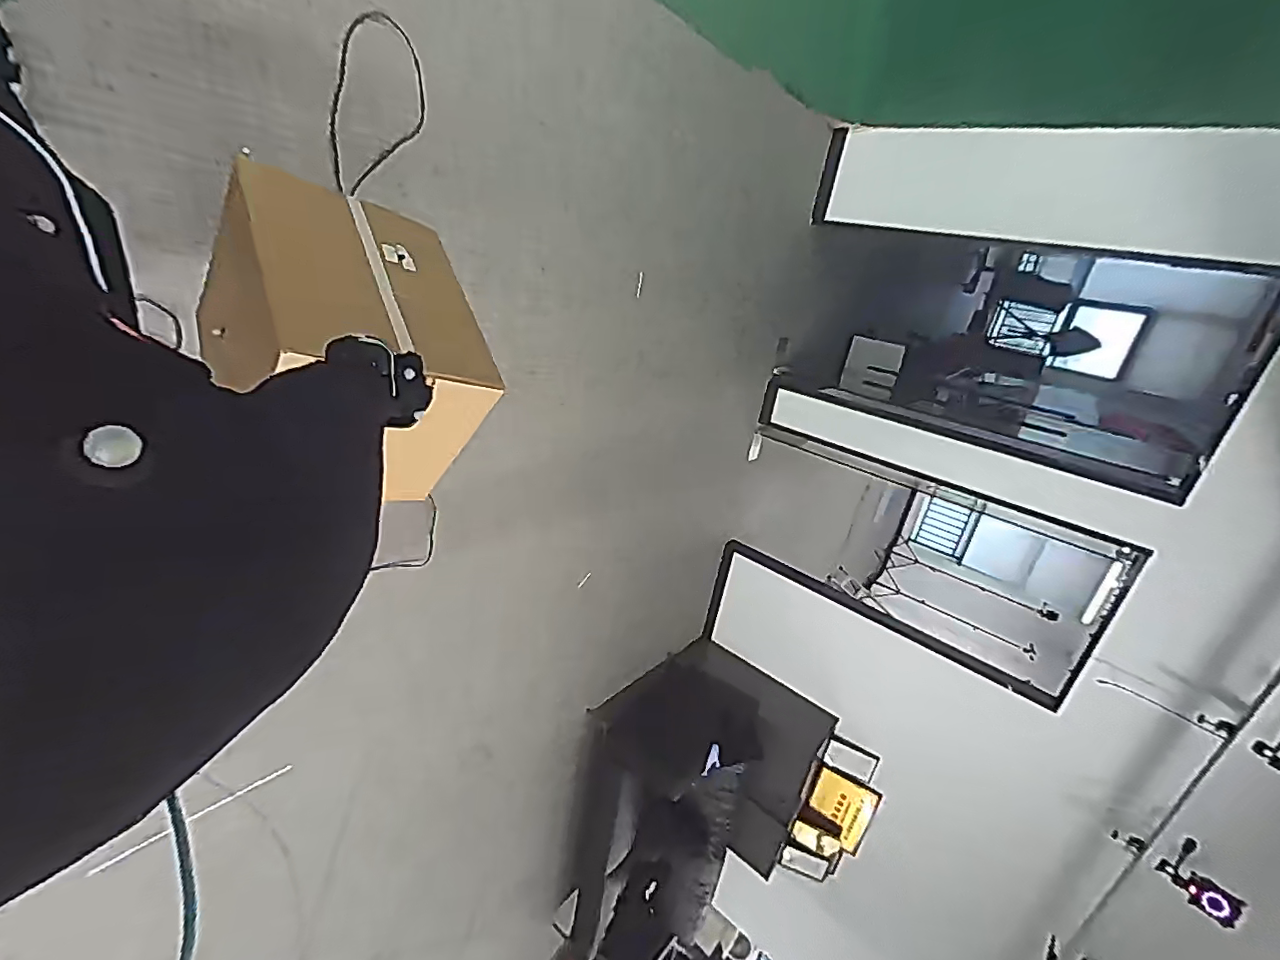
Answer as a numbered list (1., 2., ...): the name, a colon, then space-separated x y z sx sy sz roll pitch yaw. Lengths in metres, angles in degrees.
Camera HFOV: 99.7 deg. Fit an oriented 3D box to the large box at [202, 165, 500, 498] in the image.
1. large box: -0.501 -0.217 0.913 0.320 0.408 0.320 2 142 -50
